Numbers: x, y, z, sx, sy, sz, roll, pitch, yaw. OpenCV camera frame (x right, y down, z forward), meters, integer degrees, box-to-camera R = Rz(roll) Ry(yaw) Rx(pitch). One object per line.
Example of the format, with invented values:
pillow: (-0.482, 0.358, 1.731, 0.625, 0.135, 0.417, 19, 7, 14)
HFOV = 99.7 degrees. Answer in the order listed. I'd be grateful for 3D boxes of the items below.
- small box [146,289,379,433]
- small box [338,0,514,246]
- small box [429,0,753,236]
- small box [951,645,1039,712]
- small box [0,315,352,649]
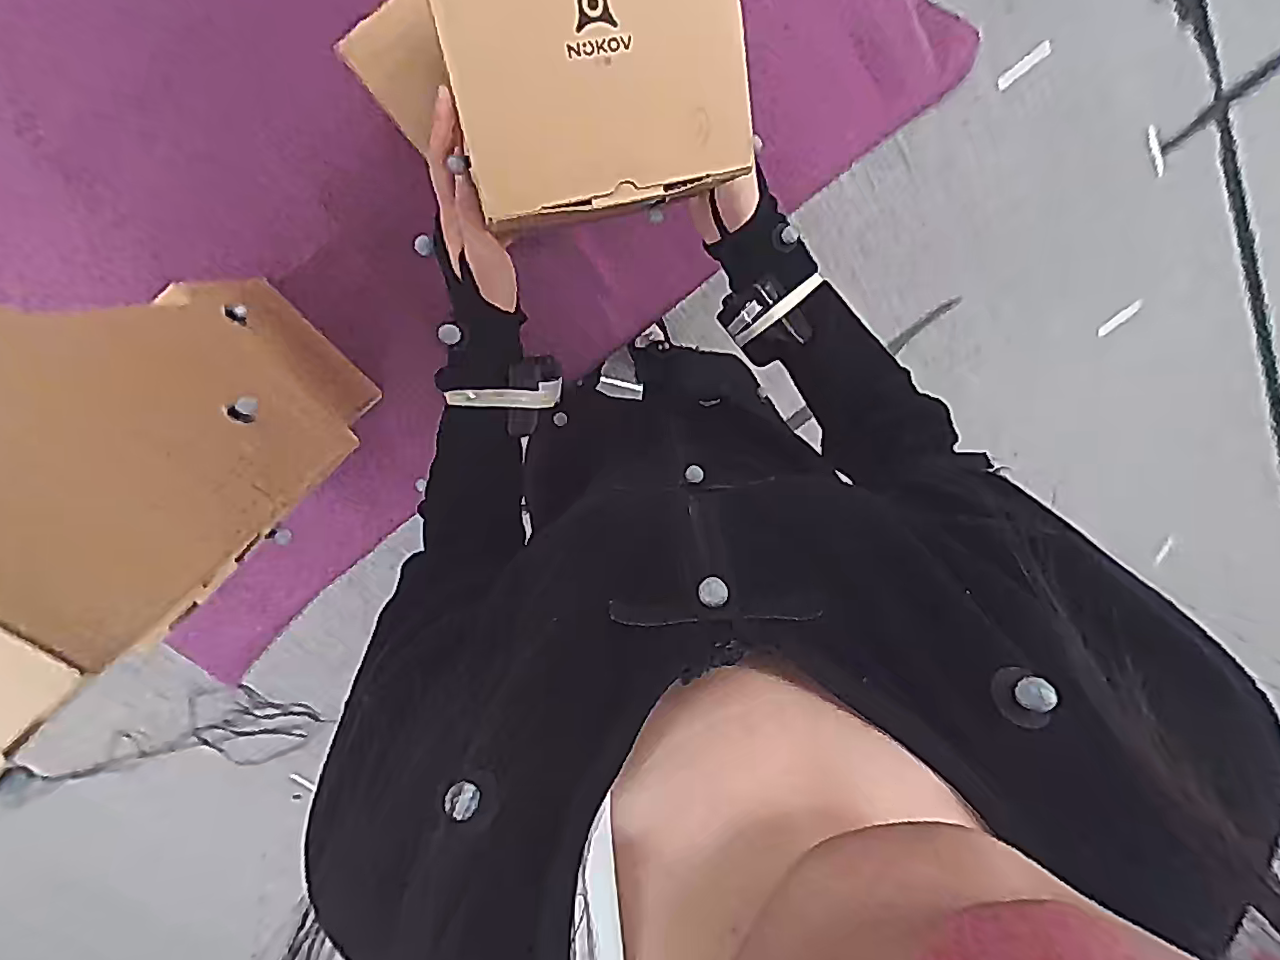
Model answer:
small box: (-0.414, -0.083, 0.572, 0.168, 0.176, 0.179, -39, 113, 6)
small box: (-0.135, -0.349, 0.516, 0.168, 0.176, 0.179, -38, 113, 5)
small box: (-0.041, -0.269, 0.360, 0.168, 0.176, 0.179, -16, 112, -9)
small box: (1.293, 0.722, 1.979, 0.179, 0.176, 0.168, 4, 111, -12)
small box: (-0.370, -0.011, 0.430, 0.168, 0.176, 0.179, -43, 113, 7)
